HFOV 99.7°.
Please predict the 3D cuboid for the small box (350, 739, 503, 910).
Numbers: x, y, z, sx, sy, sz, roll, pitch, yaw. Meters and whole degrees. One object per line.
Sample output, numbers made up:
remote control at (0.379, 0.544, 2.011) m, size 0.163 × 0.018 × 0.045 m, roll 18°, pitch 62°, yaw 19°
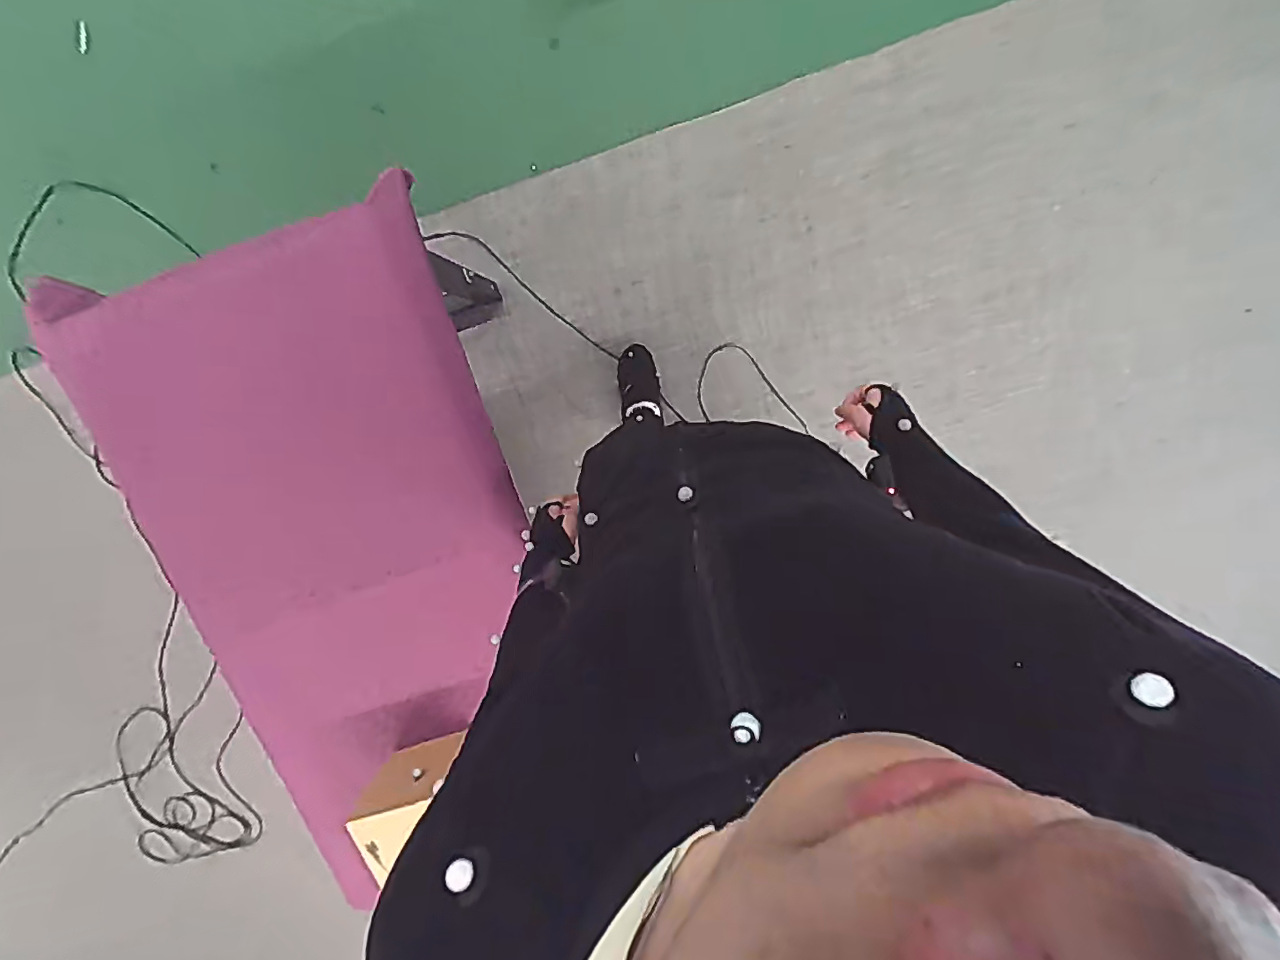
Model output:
small box at (-0.355, 0.590, 0.947) m, size 0.179 × 0.176 × 0.168 m, roll -20°, pitch 100°, yaw 5°
